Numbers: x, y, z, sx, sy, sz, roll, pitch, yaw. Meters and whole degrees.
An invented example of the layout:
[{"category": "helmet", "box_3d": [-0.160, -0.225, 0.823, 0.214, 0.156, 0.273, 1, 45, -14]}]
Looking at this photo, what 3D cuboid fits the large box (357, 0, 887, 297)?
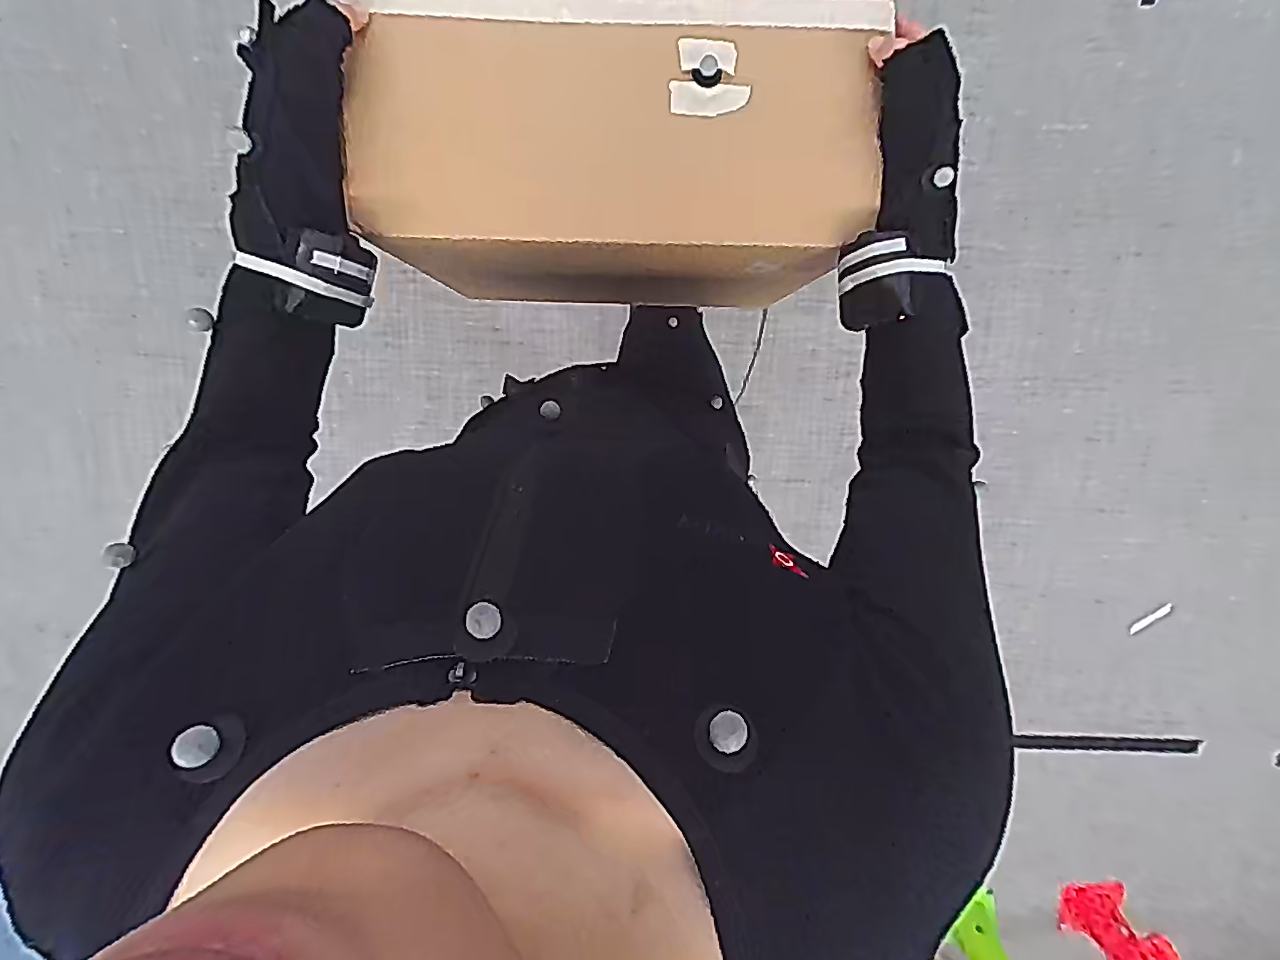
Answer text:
[{"category": "large box", "box_3d": [-0.017, -0.374, 0.550, 0.408, 0.320, 0.320, 0, 99, -2]}]
